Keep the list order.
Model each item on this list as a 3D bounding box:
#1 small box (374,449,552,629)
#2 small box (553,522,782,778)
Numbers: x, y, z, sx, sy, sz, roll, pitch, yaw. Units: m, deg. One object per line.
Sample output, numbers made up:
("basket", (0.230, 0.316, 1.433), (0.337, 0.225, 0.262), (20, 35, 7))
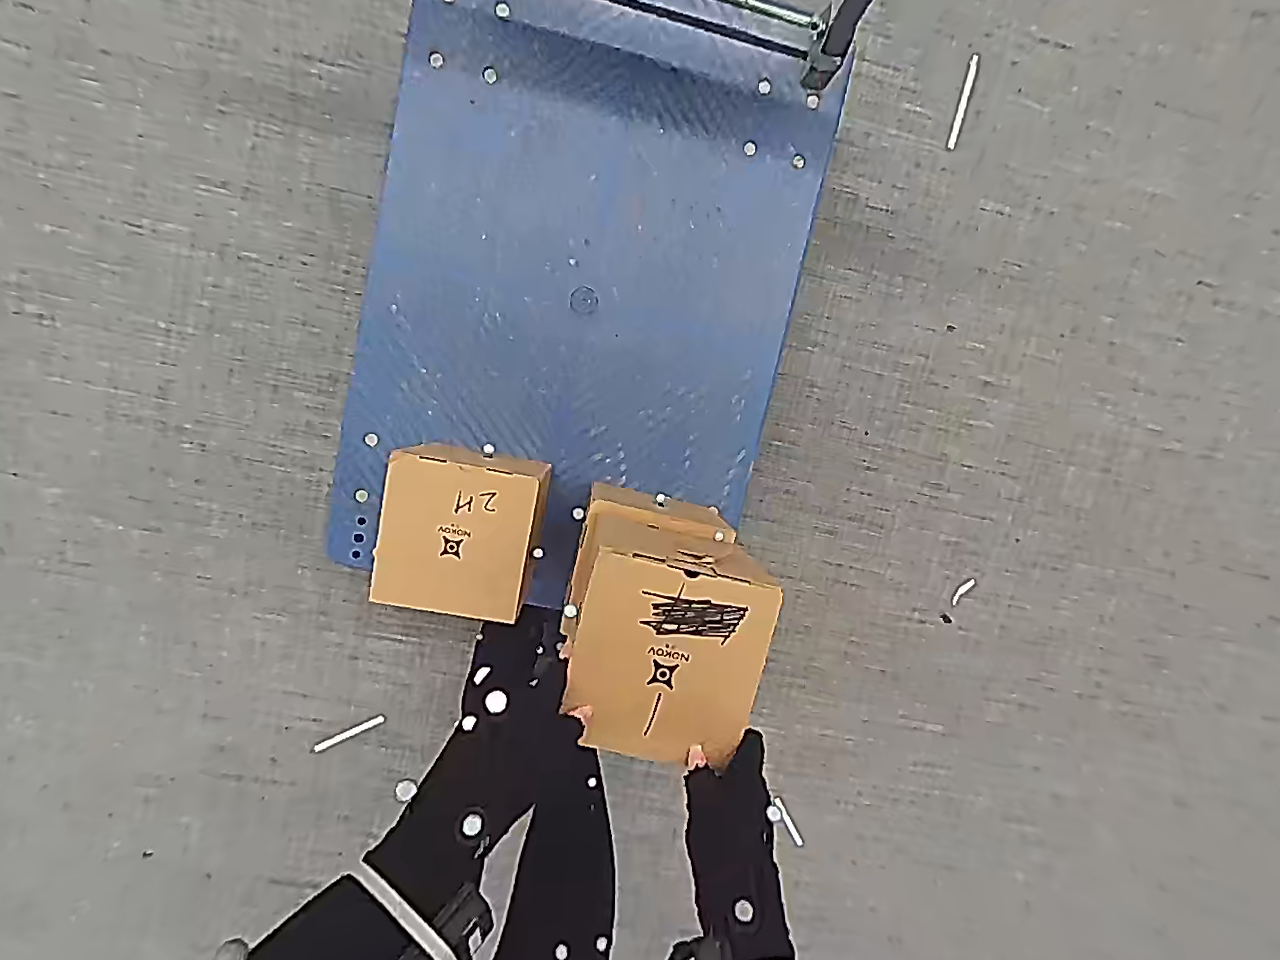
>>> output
("small box", (-0.211, 0.064, 0.689), (0.168, 0.176, 0.179), (11, 95, -6))
("small box", (0.018, 0.153, 0.542), (0.168, 0.176, 0.179), (14, 96, -5))
